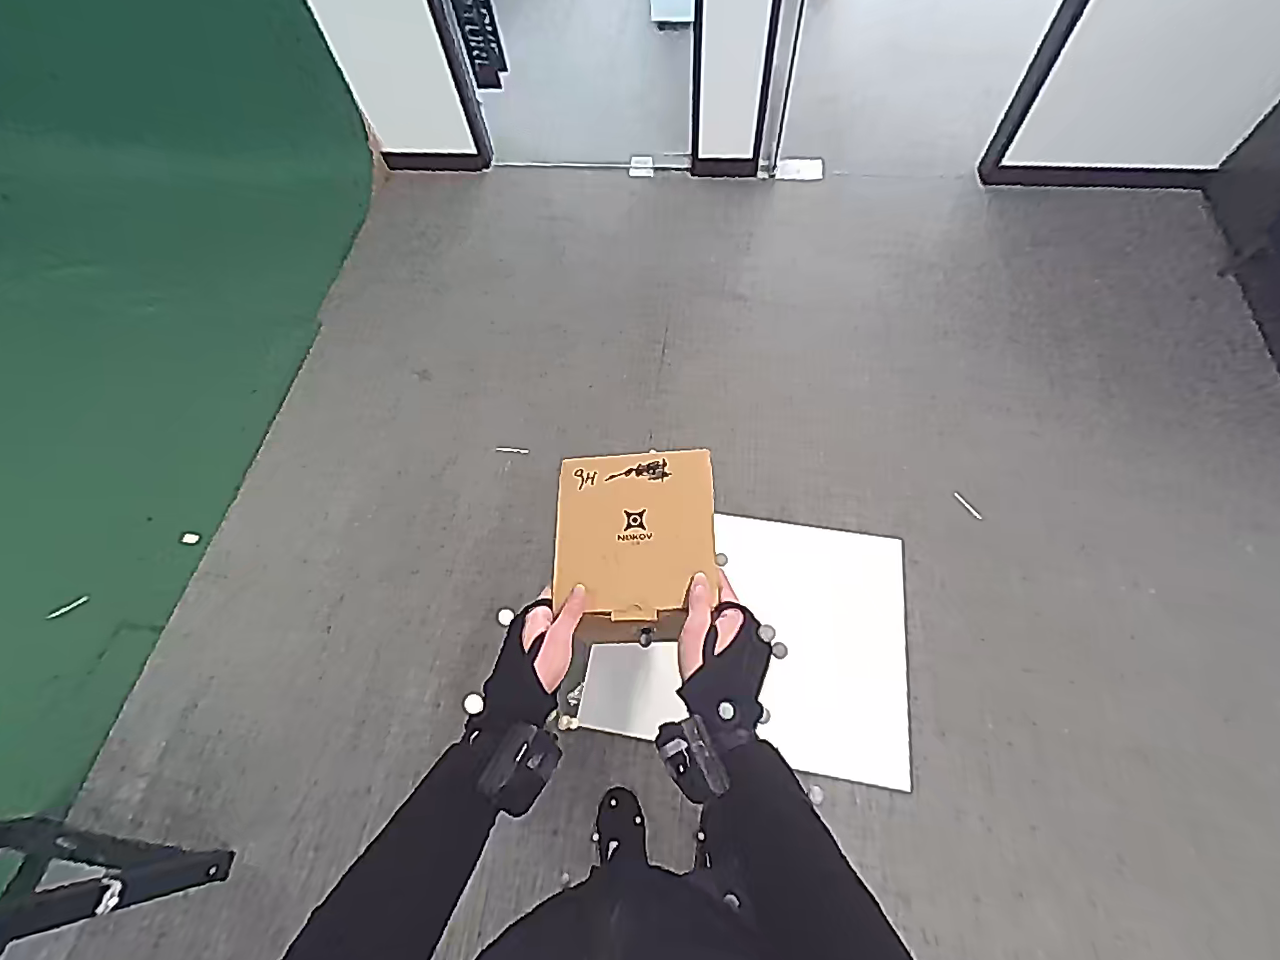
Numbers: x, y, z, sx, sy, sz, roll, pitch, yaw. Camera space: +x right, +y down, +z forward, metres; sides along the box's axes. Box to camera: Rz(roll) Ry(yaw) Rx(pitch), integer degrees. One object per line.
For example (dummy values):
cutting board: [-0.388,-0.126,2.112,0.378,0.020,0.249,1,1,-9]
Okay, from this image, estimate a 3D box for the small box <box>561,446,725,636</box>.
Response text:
small box: [0.010,0.082,0.637,0.168,0.176,0.179,-6,63,6]
